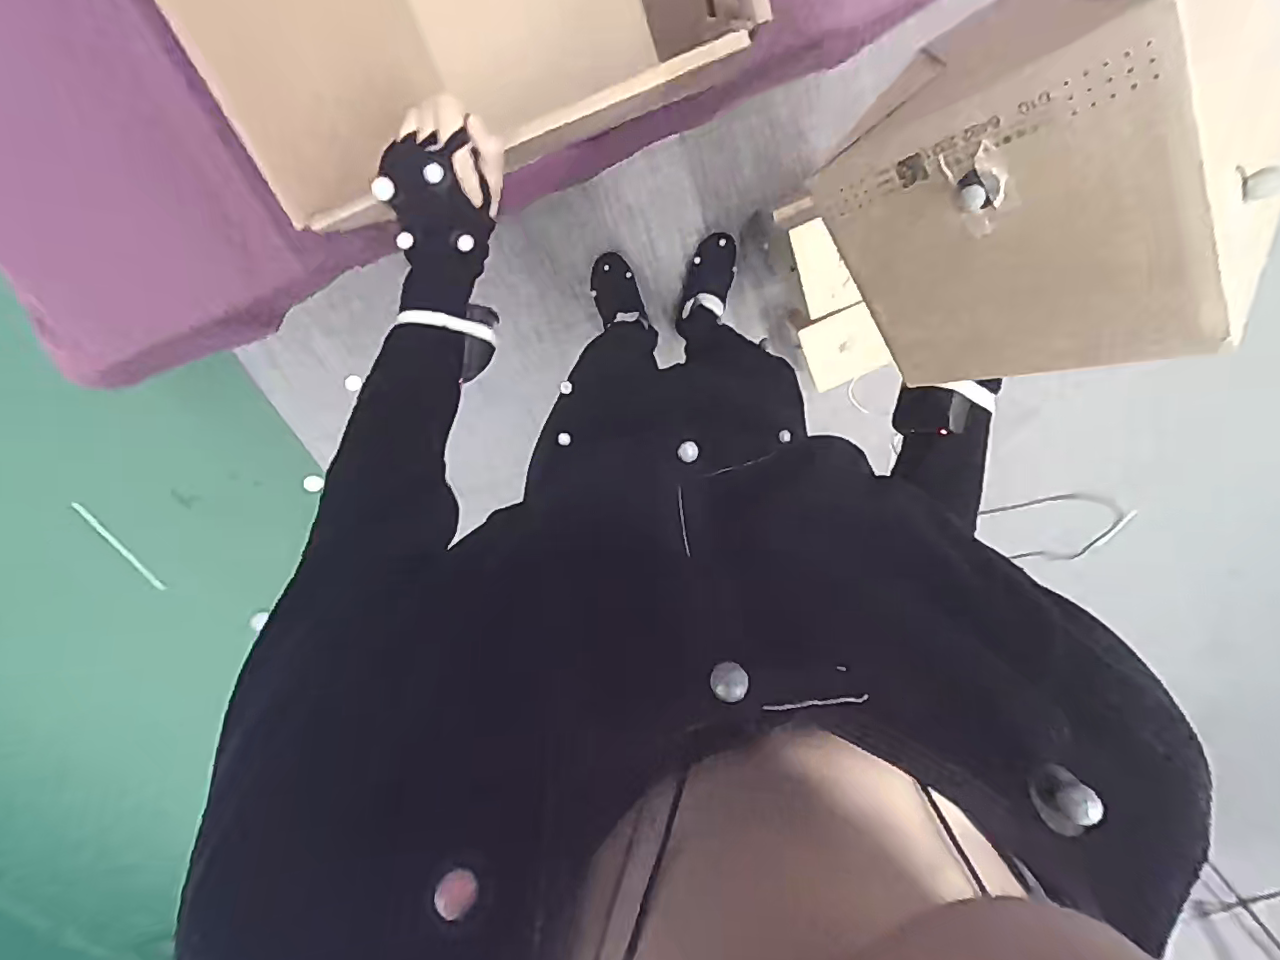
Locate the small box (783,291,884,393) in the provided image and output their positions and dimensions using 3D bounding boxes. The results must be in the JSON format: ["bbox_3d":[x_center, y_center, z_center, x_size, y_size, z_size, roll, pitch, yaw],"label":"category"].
[{"bbox_3d":[0.463,-0.340,1.323,0.179,0.176,0.168,-23,116,11],"label":"small box"}]
